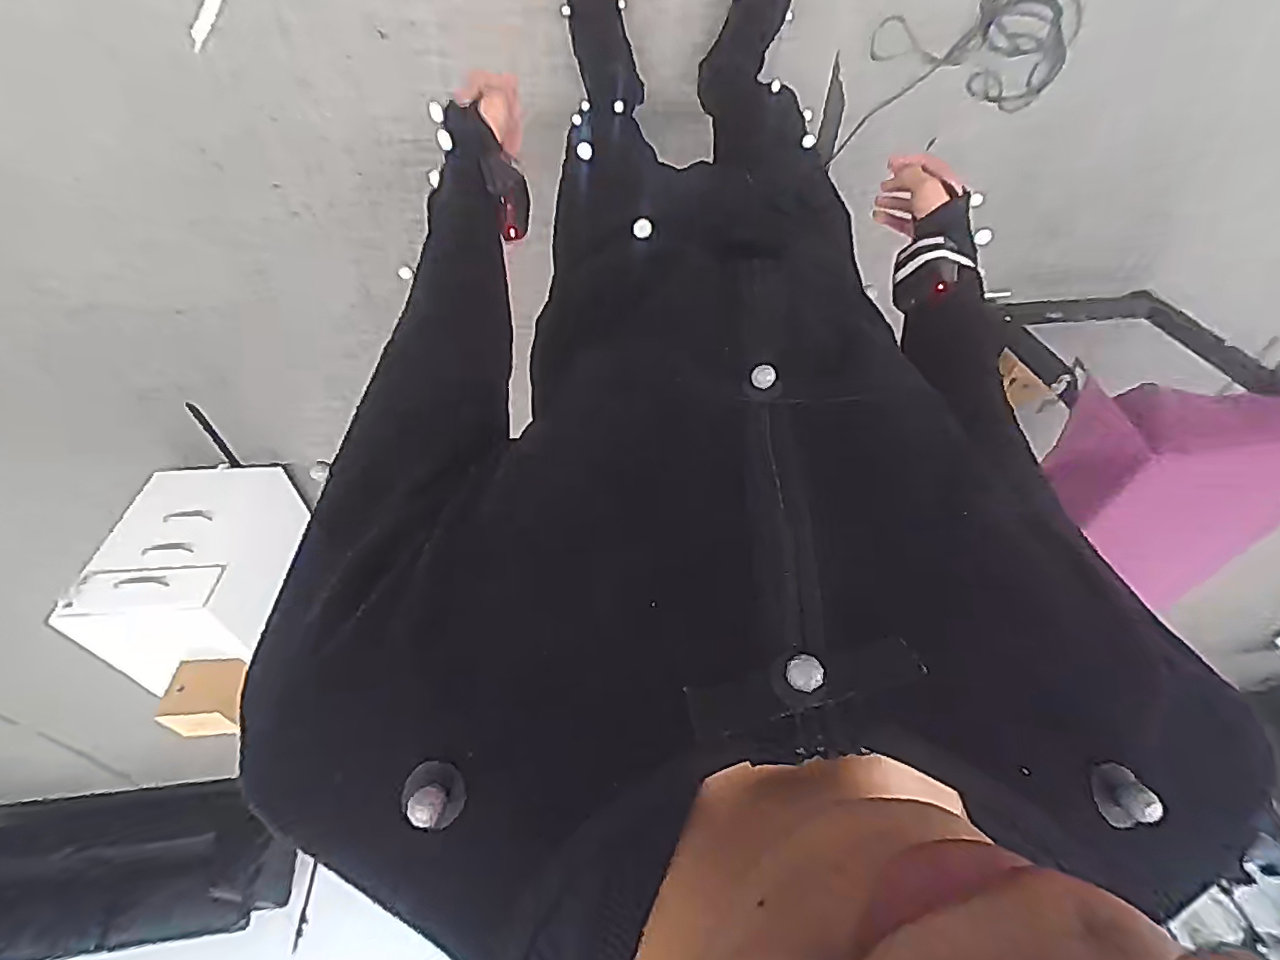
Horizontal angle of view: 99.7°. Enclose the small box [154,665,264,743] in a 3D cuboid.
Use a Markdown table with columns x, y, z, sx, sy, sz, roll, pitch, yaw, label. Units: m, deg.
| x | y | z | sx | sy | sz | roll | pitch | yaw | label |
| --- | --- | --- | --- | --- | --- | --- | --- | --- | --- |
| -1.289 | 0.674 | 1.633 | 0.179 | 0.176 | 0.168 | -1 | 136 | -6 | small box |
